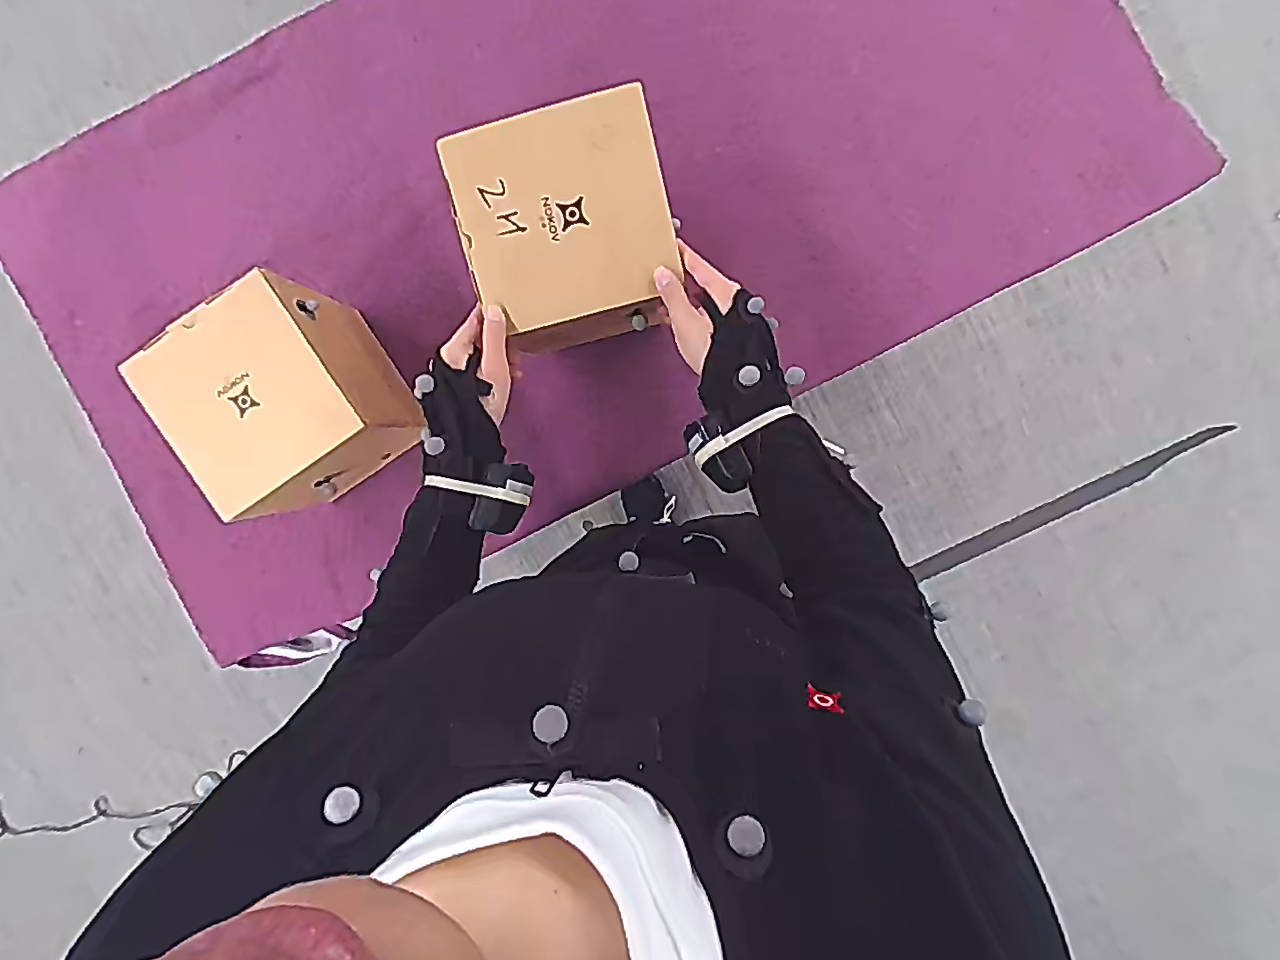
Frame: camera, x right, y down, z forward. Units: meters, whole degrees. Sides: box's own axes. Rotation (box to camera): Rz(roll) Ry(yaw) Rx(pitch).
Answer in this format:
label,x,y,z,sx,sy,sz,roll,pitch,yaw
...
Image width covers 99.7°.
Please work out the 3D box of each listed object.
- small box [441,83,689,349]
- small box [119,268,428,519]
label,x,y,z,sx,sy,sz,roll,pitch,yaw
small box,-0.059,-0.231,0.522,0.179,0.176,0.168,-13,97,4
small box,-0.362,-0.083,0.573,0.168,0.176,0.179,-34,91,3
